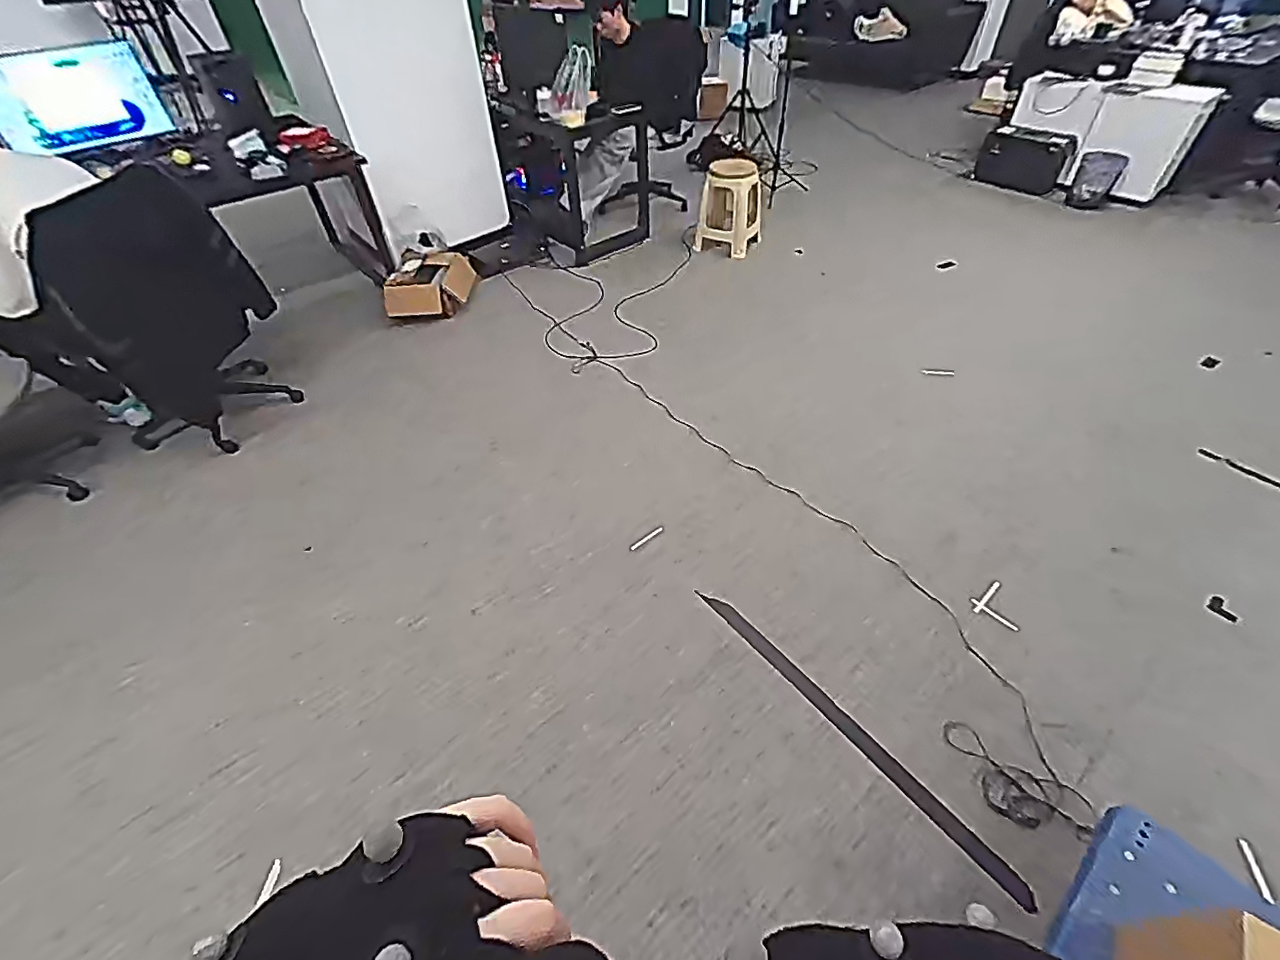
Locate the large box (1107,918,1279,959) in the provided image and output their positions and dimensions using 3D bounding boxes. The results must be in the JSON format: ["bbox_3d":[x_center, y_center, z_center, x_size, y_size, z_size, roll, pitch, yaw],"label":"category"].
[{"bbox_3d":[0.921,0.891,0.711,0.408,0.320,0.320,27,54,25],"label":"large box"}]
